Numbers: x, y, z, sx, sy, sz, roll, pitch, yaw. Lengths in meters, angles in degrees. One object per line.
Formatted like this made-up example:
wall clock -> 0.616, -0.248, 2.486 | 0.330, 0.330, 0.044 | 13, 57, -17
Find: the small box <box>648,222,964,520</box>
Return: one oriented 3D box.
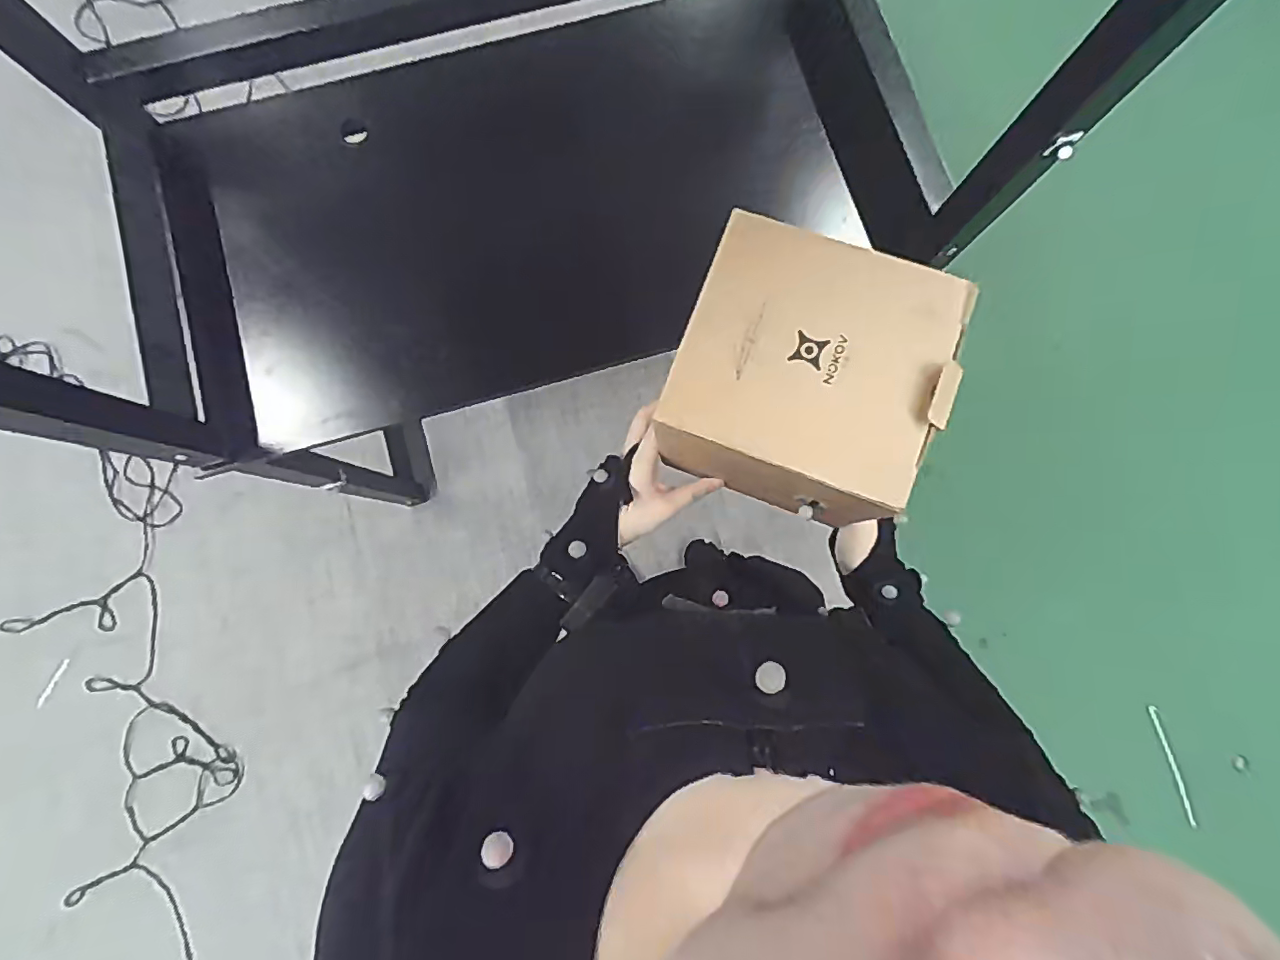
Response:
small box -> 0.120, -0.071, 0.449 | 0.179, 0.176, 0.168 | 20, 83, 8
